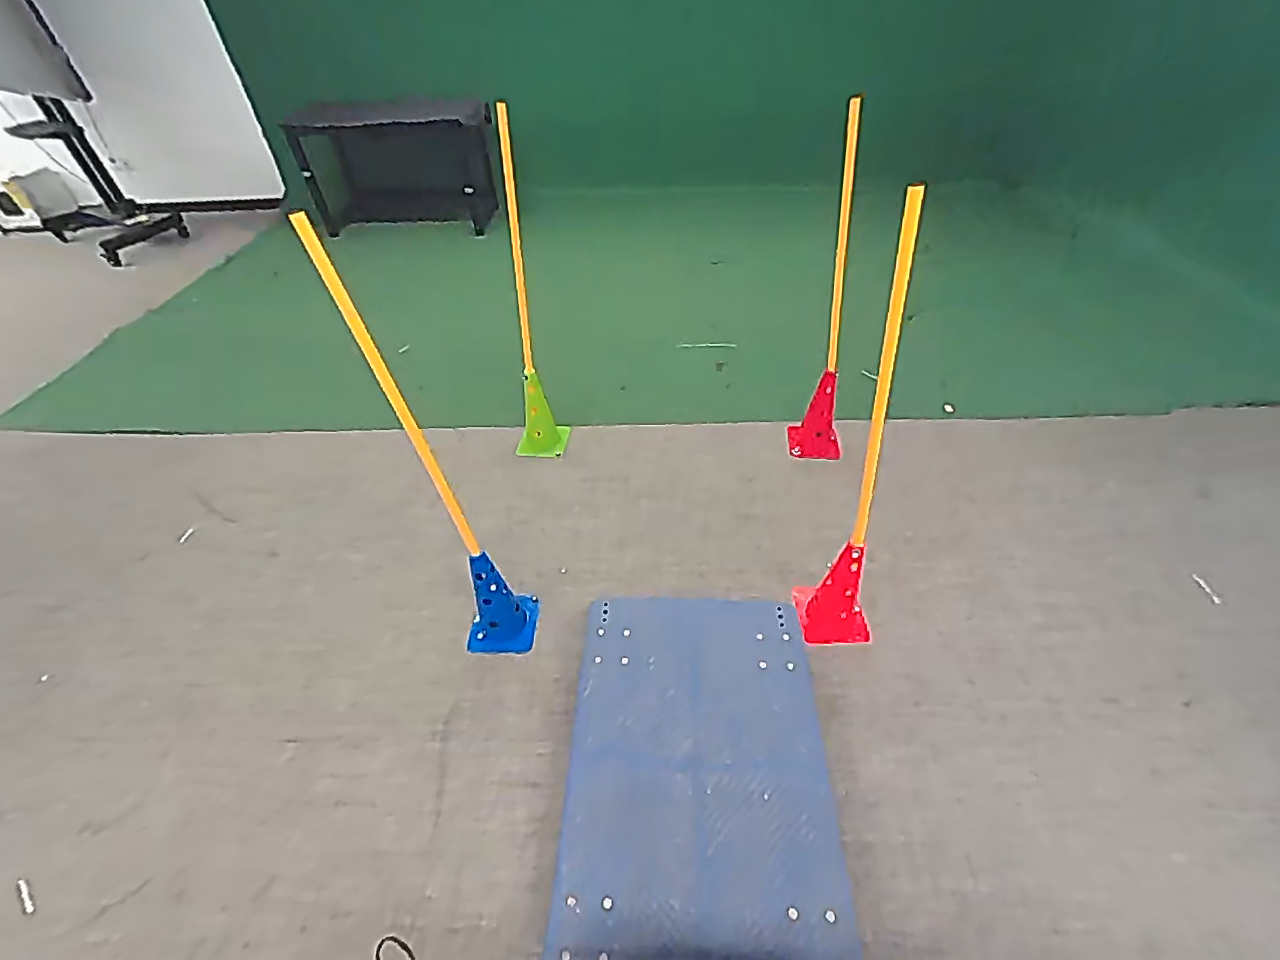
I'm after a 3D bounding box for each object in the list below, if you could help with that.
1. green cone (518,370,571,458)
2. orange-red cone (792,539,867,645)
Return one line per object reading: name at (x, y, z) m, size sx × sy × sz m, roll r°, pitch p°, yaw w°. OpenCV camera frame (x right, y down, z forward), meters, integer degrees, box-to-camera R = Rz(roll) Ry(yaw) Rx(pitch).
green cone at (-0.417, -0.286, 2.206) m, size 0.202 × 0.368 × 0.200 m, roll 2°, pitch 44°, yaw 6°
orange-red cone at (0.575, 0.299, 1.562) m, size 0.199 × 0.360 × 0.198 m, roll -2°, pitch 43°, yaw 3°
